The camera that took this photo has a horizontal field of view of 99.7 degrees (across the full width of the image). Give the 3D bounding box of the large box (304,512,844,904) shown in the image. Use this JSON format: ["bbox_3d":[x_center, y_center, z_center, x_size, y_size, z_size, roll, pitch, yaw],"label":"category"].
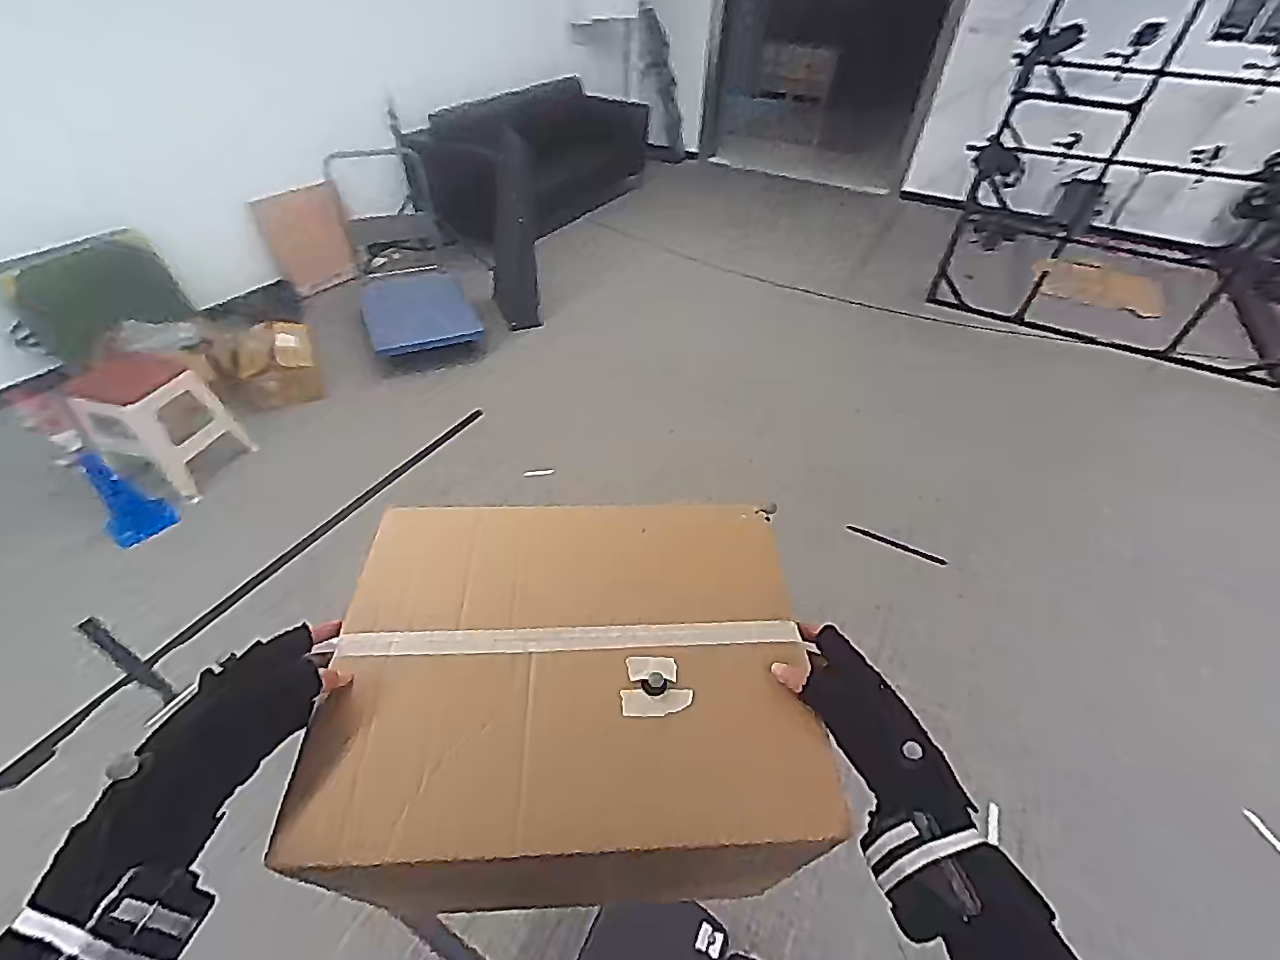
[{"bbox_3d":[-0.058,0.249,0.601,0.408,0.320,0.320,1,47,-4],"label":"large box"}]
